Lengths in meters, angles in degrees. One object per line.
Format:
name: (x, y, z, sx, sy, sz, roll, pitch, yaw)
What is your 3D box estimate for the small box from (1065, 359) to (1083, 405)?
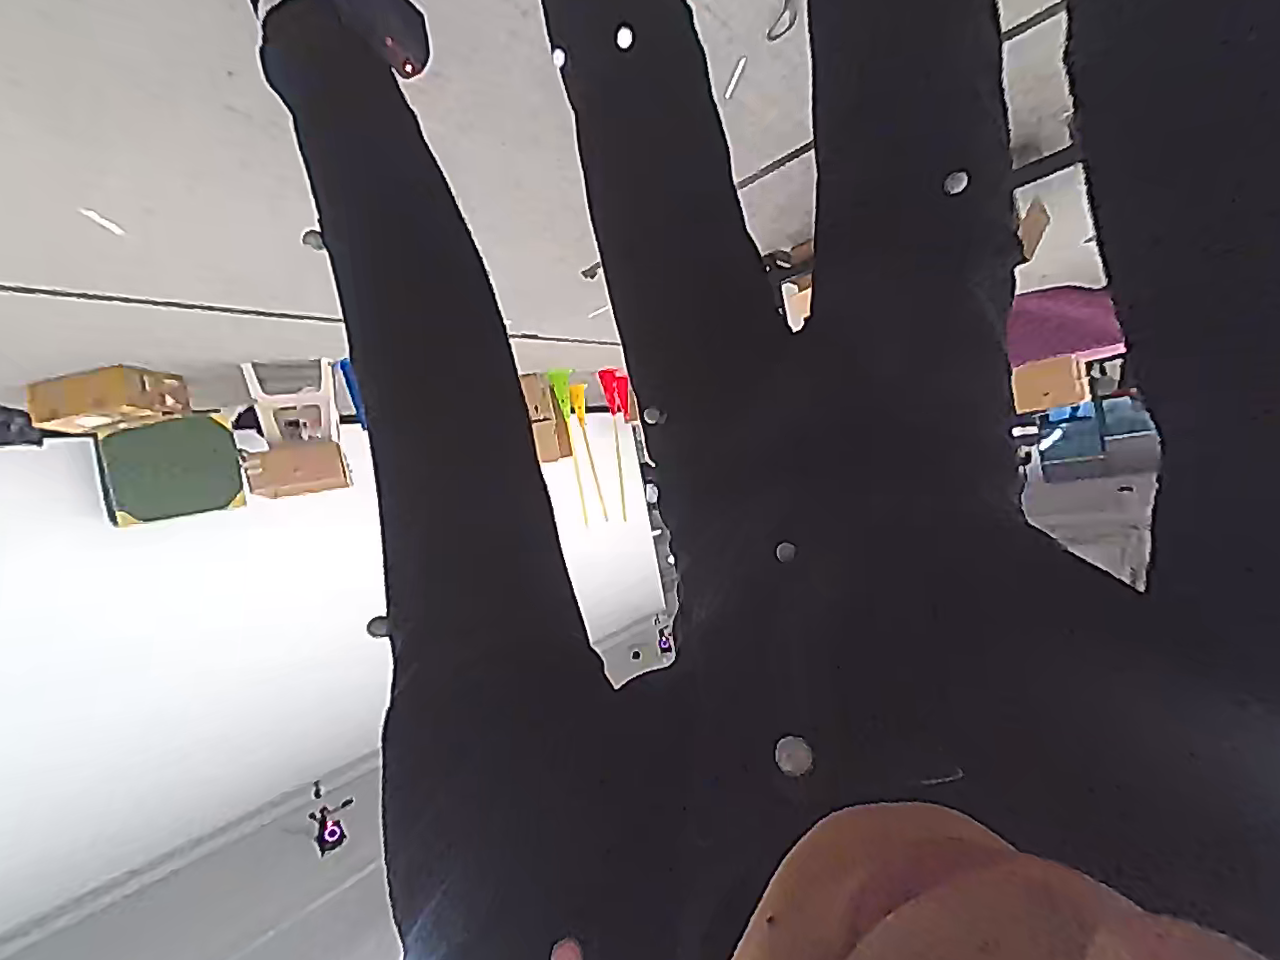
small box: (1.565, -0.358, 2.069, 0.179, 0.176, 0.168, -10, 180, 43)

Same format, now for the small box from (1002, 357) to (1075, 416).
small box: (1.399, -0.327, 1.895, 0.179, 0.176, 0.168, -11, 180, 41)
